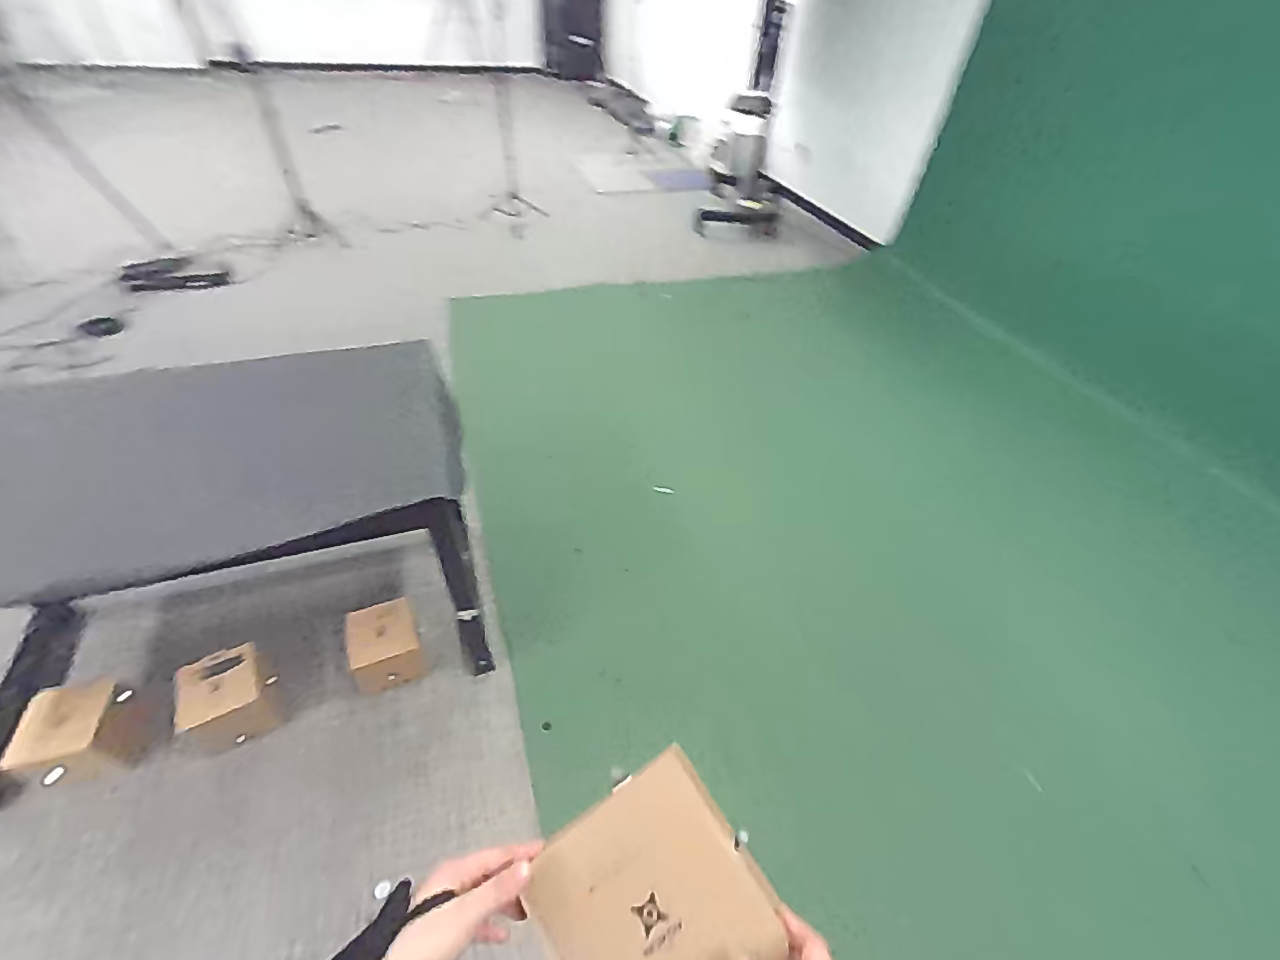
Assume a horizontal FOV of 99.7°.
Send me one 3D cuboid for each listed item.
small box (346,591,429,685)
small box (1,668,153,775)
[{"bbox_3d":[-0.693,0.443,1.492,0.168,0.176,0.179,-14,48,-20],"label":"small box"},{"bbox_3d":[-1.329,0.584,1.296,0.168,0.176,0.179,-8,46,-13],"label":"small box"}]
